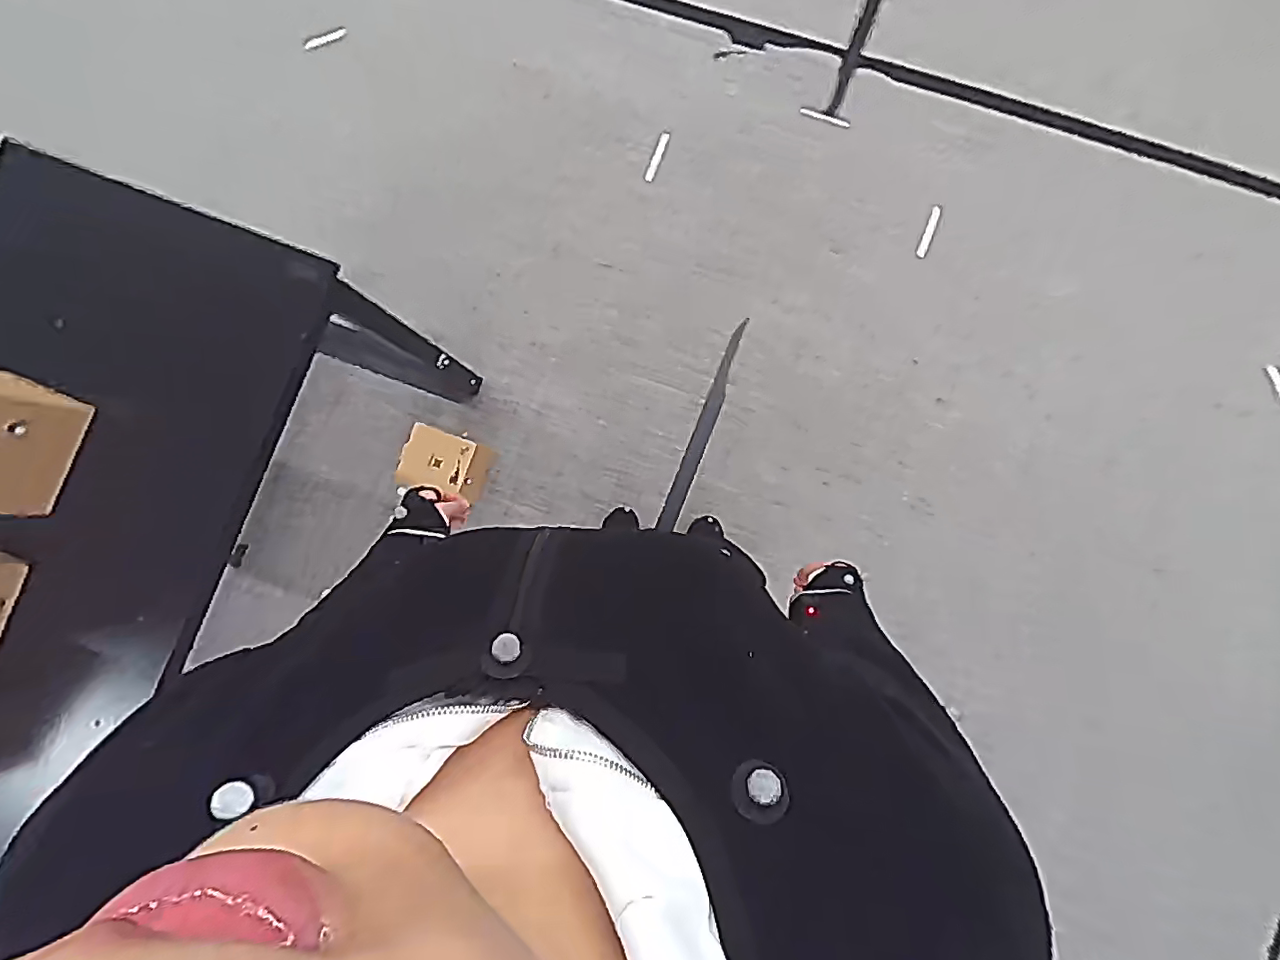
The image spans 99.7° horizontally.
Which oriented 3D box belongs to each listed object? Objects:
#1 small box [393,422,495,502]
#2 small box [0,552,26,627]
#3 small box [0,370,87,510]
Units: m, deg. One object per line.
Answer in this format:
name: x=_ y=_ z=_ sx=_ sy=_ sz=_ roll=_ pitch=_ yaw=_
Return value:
small box: x=-0.521 y=-0.040 z=1.461 sx=0.179 sy=0.176 sz=0.168 roll=21 pitch=88 yaw=4
small box: x=-1.039 y=0.164 z=0.742 sx=0.179 sy=0.176 sz=0.168 roll=21 pitch=88 yaw=3
small box: x=-0.948 y=-0.067 z=0.755 sx=0.168 sy=0.176 sz=0.179 roll=21 pitch=88 yaw=5
